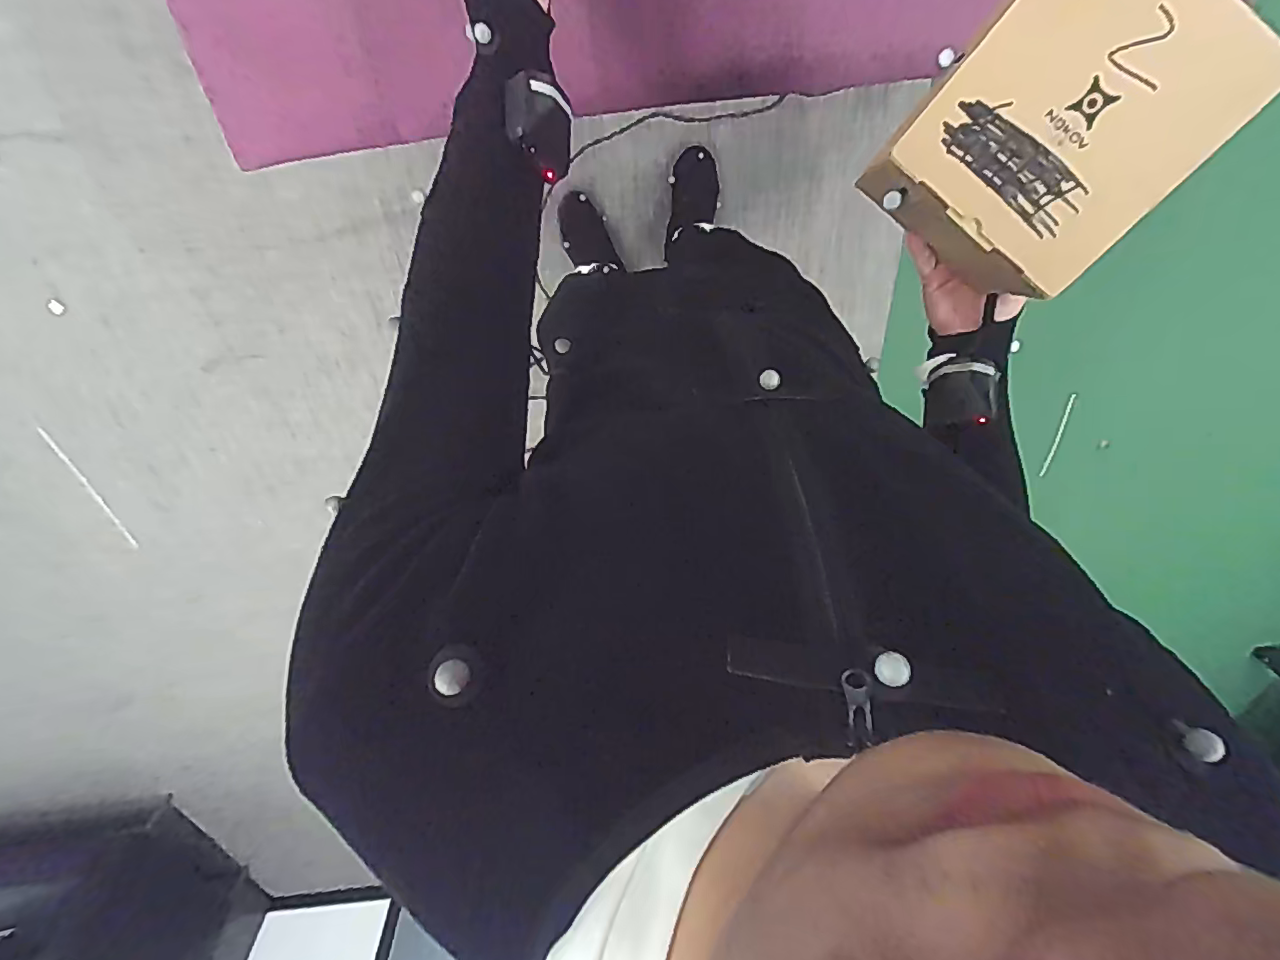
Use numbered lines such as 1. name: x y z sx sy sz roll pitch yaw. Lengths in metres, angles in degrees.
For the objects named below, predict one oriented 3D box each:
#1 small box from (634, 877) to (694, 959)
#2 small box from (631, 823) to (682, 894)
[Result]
1. small box: 0.069 1.408 1.732 0.168 0.176 0.179 4 120 -6
2. small box: 0.056 1.319 1.869 0.168 0.176 0.179 -4 121 -1
